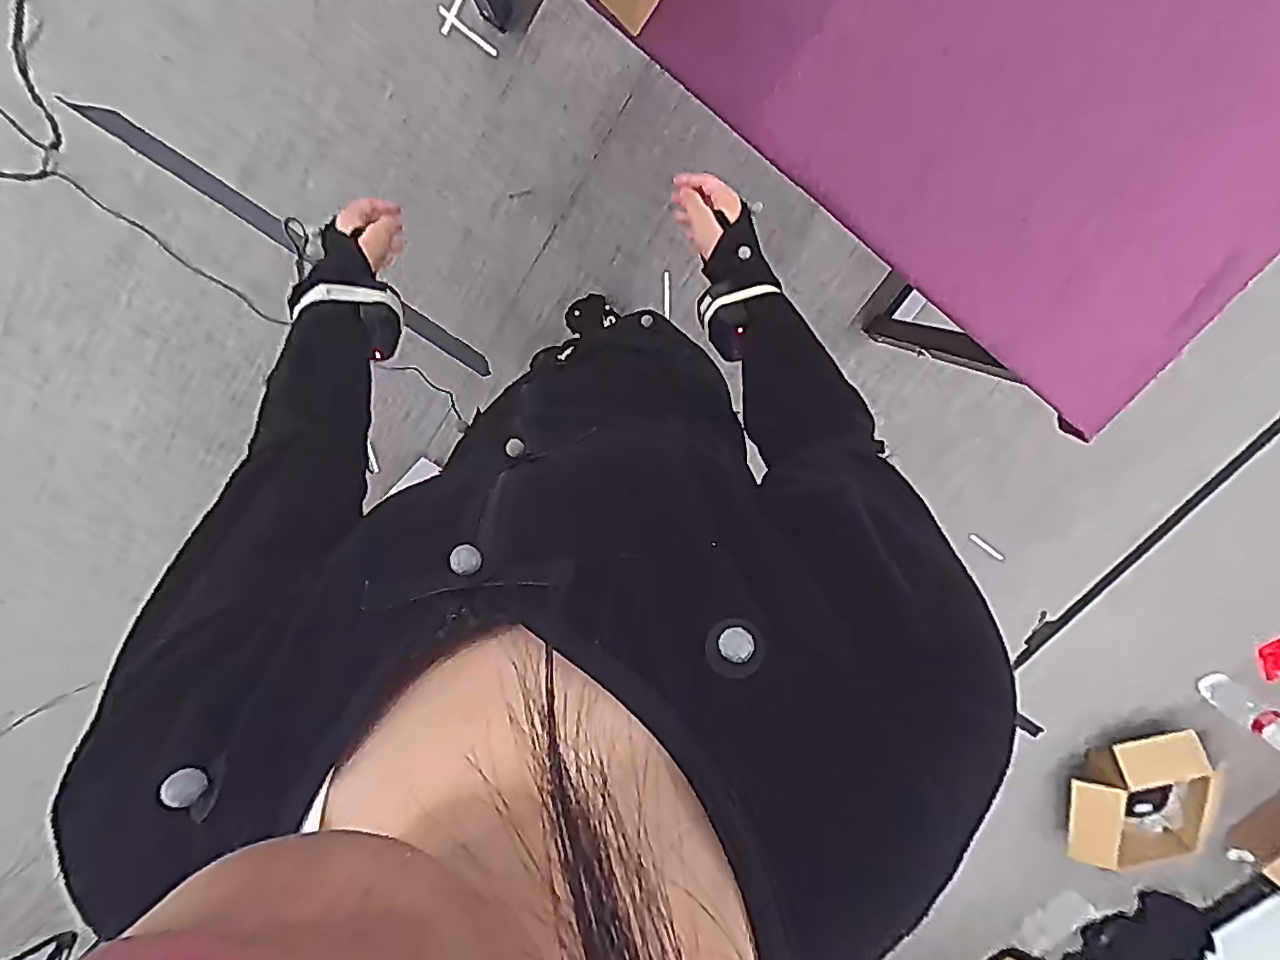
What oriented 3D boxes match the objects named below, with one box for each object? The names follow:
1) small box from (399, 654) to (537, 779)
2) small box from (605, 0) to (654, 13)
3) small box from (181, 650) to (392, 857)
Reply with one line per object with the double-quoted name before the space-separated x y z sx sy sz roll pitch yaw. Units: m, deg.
"small box" -0.306 0.465 1.003 0.168 0.176 0.179 33 108 -16
"small box" -0.014 -0.550 0.454 0.179 0.176 0.168 37 106 -16
"small box" -0.493 0.388 0.784 0.168 0.176 0.179 35 105 -16
